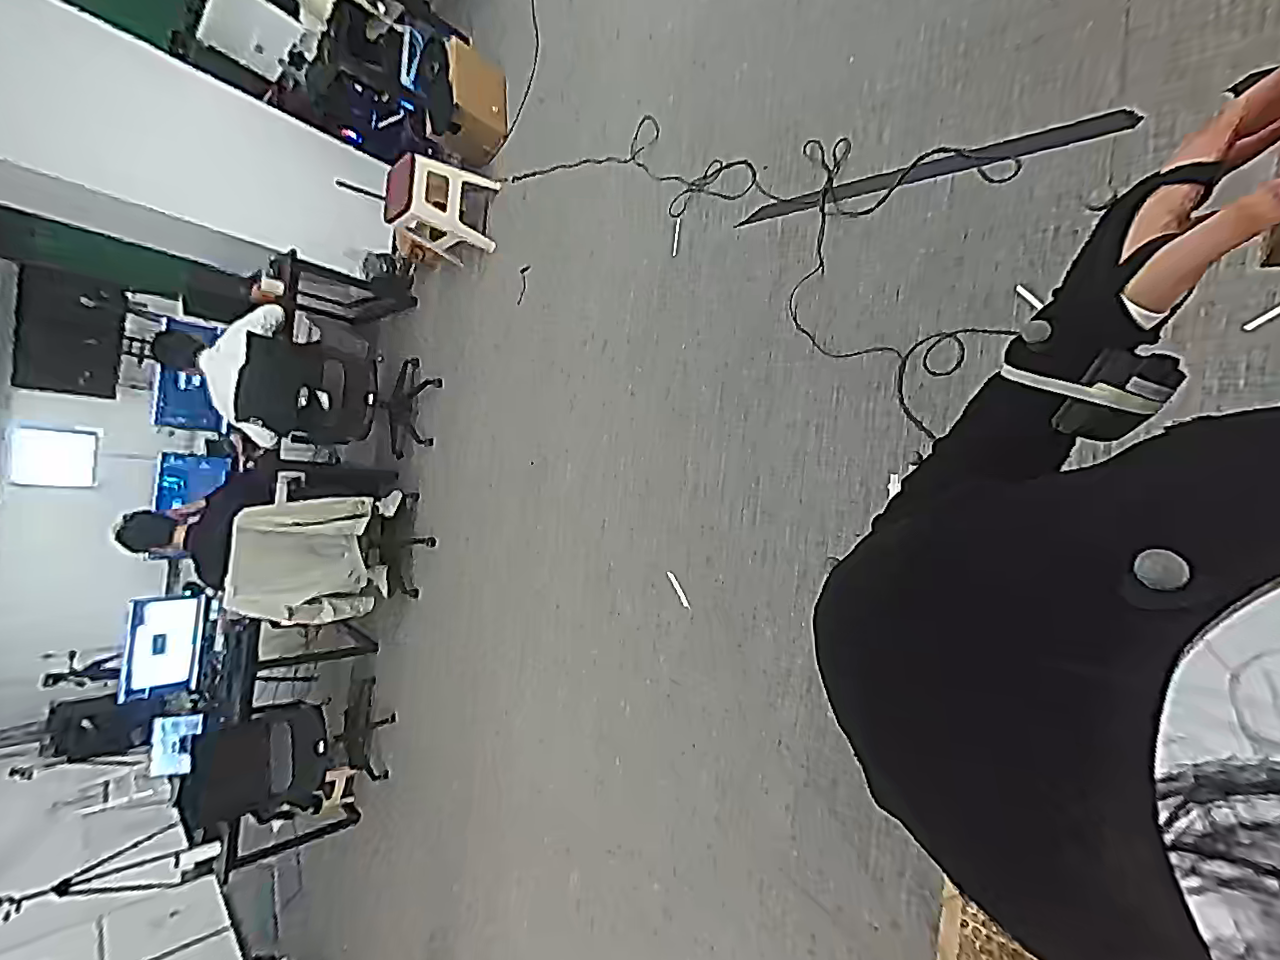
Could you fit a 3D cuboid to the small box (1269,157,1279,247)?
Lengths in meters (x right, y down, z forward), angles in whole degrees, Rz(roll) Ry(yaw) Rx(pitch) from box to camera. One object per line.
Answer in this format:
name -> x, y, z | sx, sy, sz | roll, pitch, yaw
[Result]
small box -> 0.436, -0.221, 0.250 | 0.168, 0.176, 0.179 | 9, 100, 44
